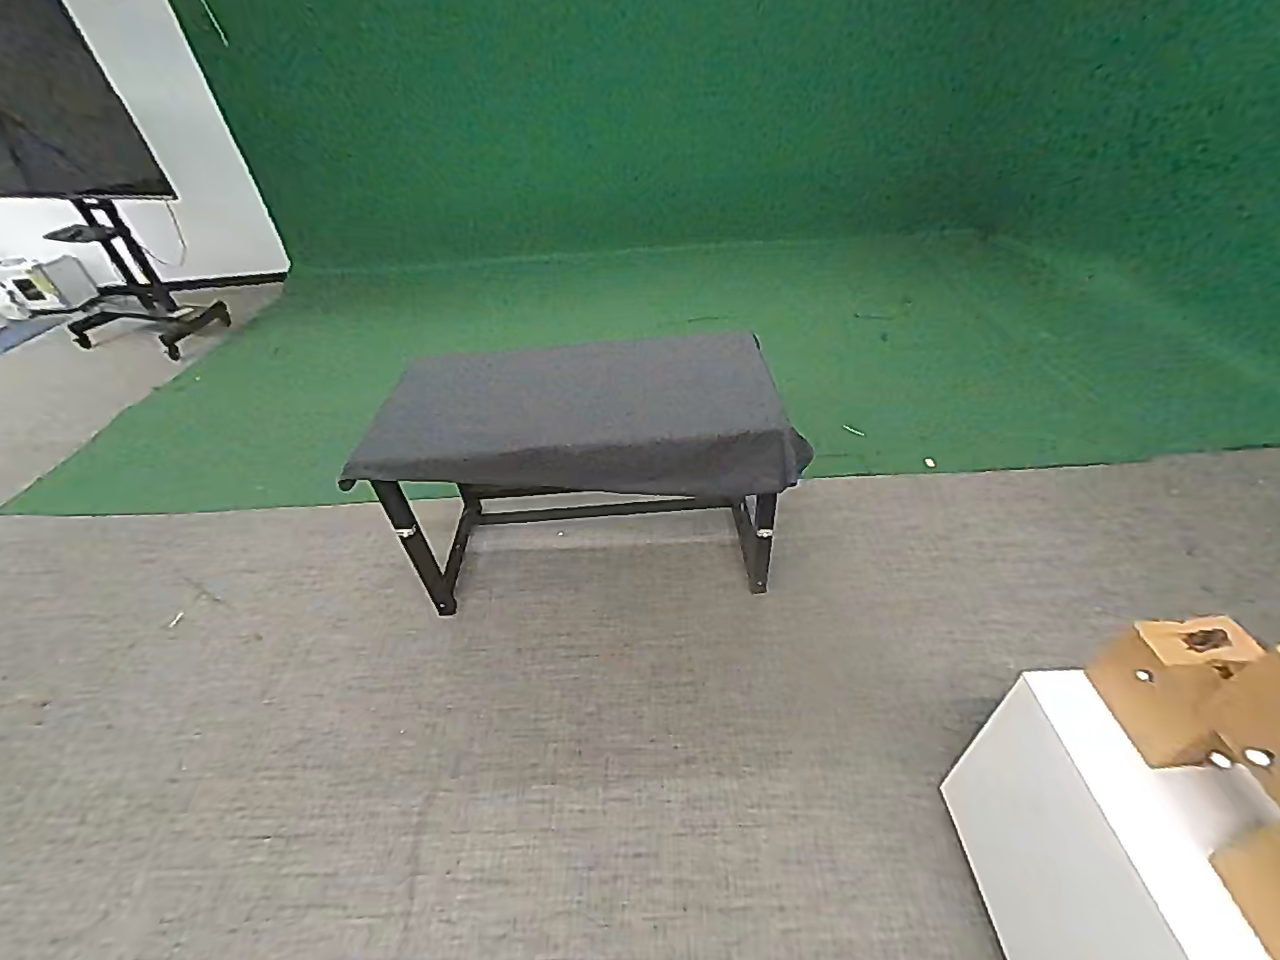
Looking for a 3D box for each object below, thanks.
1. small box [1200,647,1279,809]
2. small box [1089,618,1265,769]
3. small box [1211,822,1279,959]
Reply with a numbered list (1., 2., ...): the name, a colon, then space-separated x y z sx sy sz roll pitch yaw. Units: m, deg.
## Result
1. small box: 0.890 0.323 0.673 0.168 0.176 0.179 -4 42 1
2. small box: 0.903 0.350 0.889 0.168 0.176 0.179 -4 42 2
3. small box: 0.895 0.547 0.665 0.168 0.176 0.179 -1 39 3
